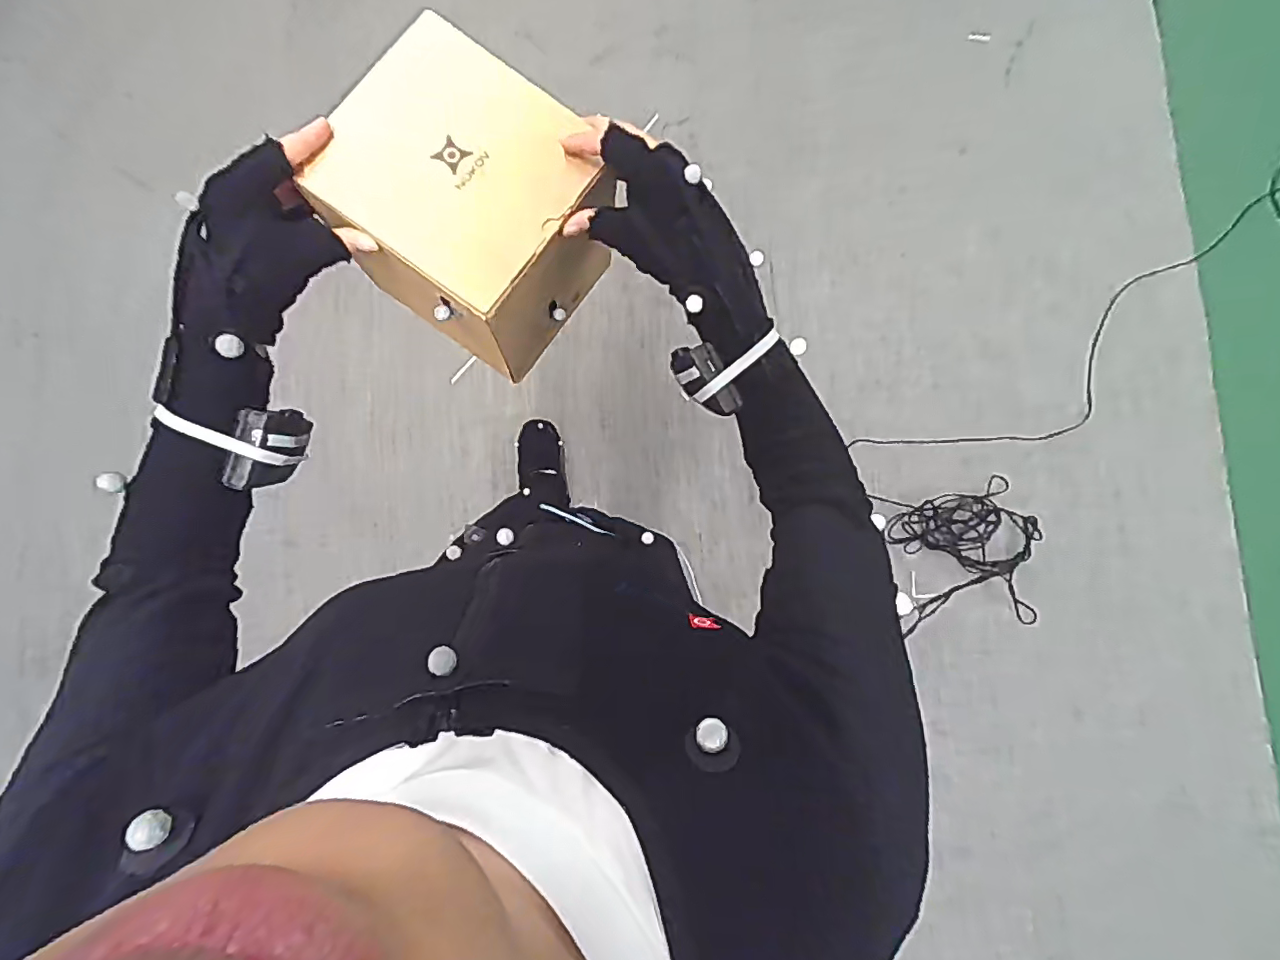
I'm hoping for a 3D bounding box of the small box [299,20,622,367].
[{"bbox_3d":[-0.140,-0.227,0.478,0.179,0.176,0.168,37,80,-3],"label":"small box"}]
